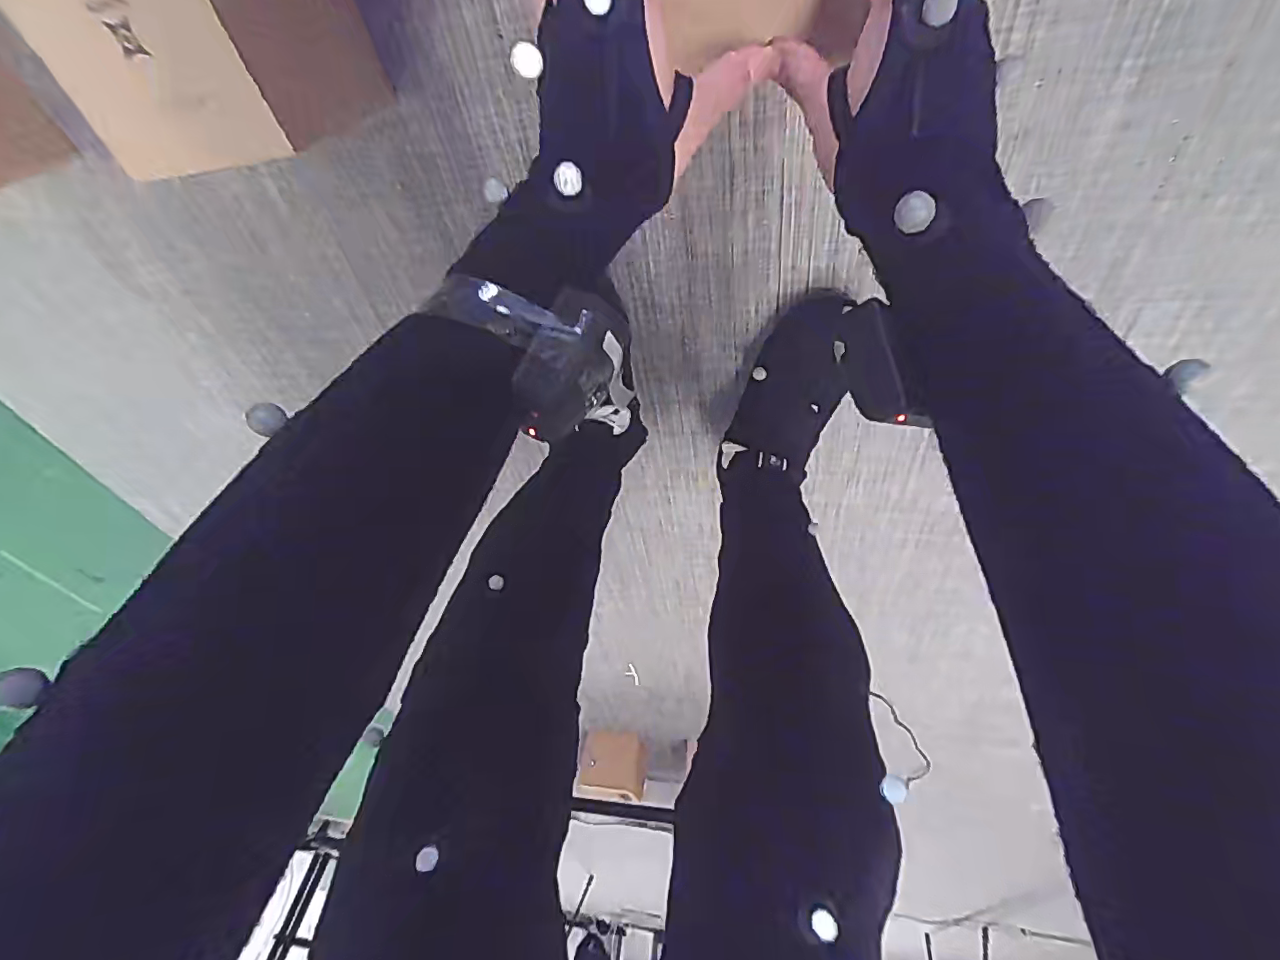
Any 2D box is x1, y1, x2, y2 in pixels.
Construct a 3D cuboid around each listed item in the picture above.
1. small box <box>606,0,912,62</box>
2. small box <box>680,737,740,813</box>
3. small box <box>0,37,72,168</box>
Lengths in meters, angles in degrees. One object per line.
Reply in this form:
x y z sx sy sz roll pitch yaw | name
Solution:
0.066 -0.358 0.286 0.168 0.176 0.179 1 143 8 | small box
0.221 0.921 1.694 0.179 0.176 0.168 1 137 10 | small box
-0.720 -0.379 0.503 0.168 0.176 0.179 0 135 13 | small box
